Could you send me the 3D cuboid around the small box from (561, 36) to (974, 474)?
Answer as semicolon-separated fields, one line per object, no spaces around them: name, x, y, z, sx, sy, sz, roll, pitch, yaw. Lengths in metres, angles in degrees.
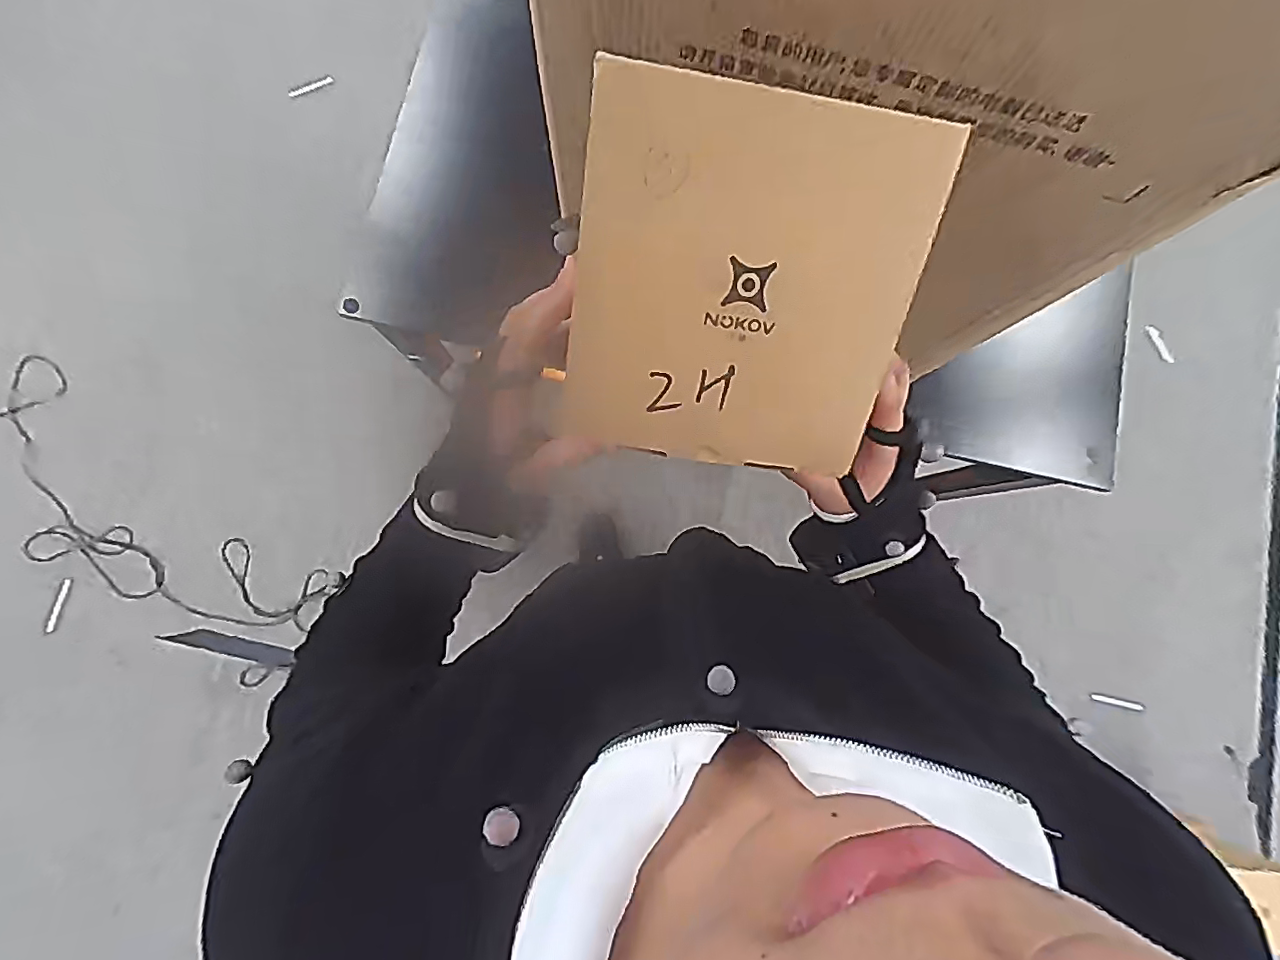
small box;0.049;-0.125;0.331;0.168;0.176;0.179;8;116;-4

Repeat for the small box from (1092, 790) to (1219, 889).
small box;1.326;0.929;1.398;0.179;0.176;0.168;7;82;0

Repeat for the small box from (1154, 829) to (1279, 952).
small box;1.329;0.926;1.233;0.179;0.176;0.168;6;82;-2
